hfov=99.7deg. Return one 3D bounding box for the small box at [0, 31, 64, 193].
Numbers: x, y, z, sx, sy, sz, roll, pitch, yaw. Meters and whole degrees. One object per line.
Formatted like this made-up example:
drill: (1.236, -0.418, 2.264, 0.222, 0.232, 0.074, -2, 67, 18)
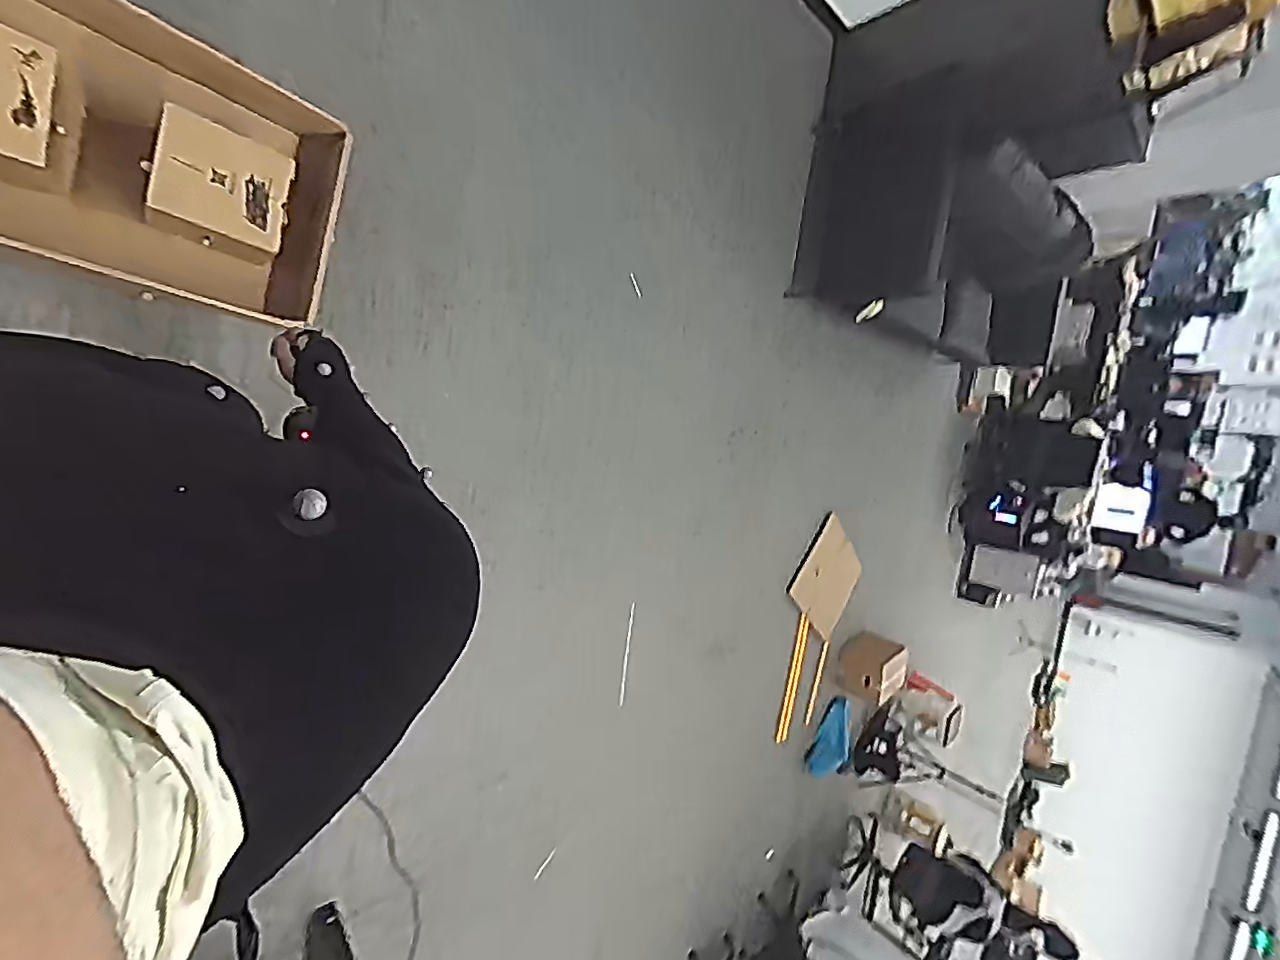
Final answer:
small box: (-0.933, -0.522, 0.738, 0.179, 0.176, 0.168, 9, 93, -43)
